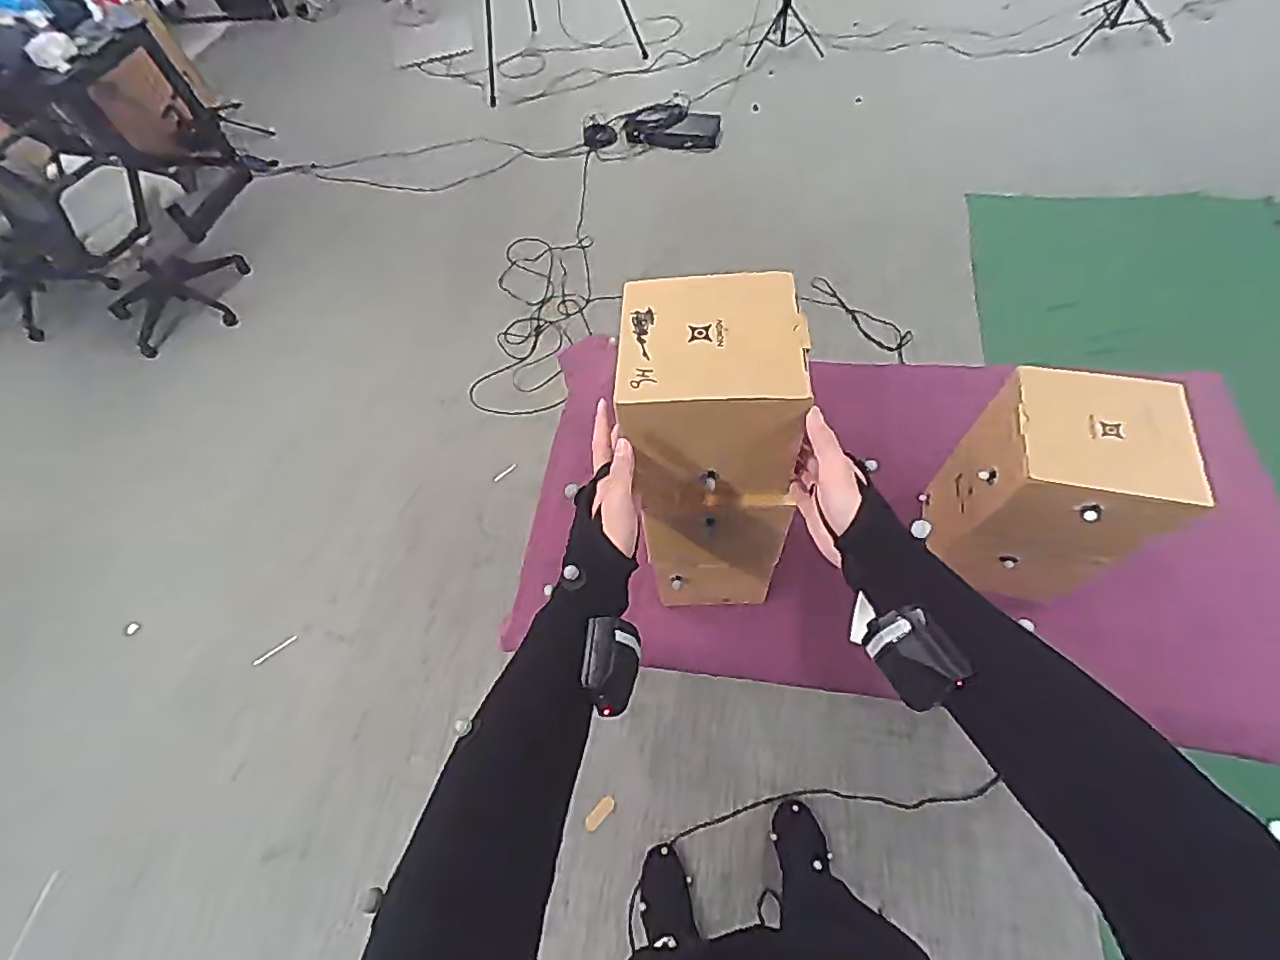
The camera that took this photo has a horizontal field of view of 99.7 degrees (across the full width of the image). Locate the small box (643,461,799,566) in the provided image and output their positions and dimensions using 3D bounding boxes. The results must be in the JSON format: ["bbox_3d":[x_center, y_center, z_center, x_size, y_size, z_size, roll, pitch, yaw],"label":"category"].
[{"bbox_3d":[0.099,0.006,0.711,0.179,0.176,0.168,-1,59,6],"label":"small box"}]

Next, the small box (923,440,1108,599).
[{"bbox_3d":[0.548,0.065,0.818,0.179,0.176,0.168,12,62,12],"label":"small box"}]

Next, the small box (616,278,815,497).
[{"bbox_3d":[0.075,-0.092,0.579,0.179,0.176,0.168,0,58,6],"label":"small box"}]
